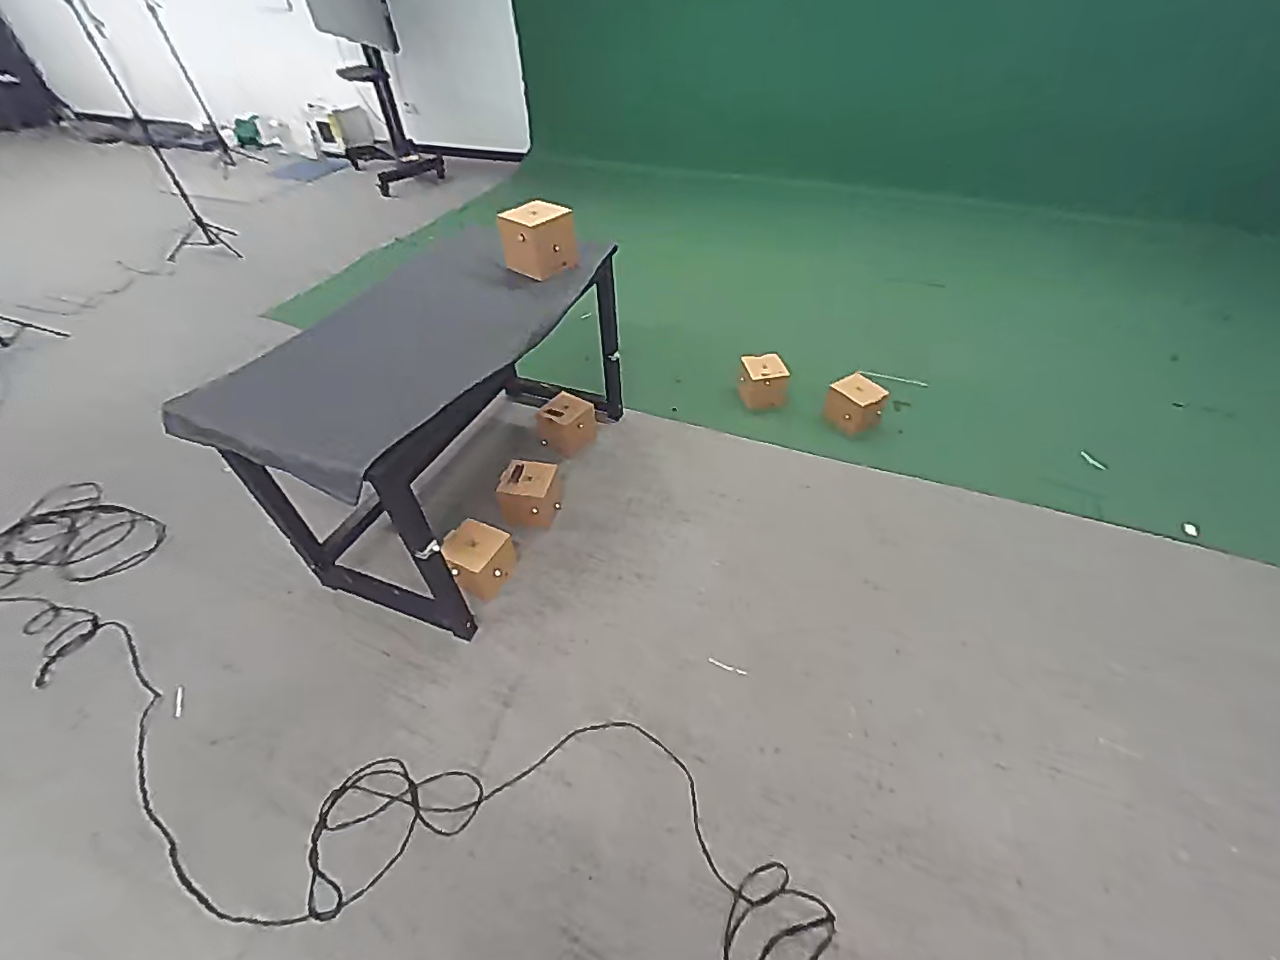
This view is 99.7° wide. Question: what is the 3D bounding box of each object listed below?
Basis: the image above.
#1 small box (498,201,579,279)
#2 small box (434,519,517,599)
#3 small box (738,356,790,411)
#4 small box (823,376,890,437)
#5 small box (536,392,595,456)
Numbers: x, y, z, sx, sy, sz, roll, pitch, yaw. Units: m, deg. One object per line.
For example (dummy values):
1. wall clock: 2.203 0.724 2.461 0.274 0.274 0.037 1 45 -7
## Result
1. small box: -0.312 -0.749 1.695 0.179 0.176 0.168 31 54 31
2. small box: -0.520 0.259 1.739 0.179 0.176 0.168 19 49 19
3. small box: 0.540 -0.424 2.379 0.168 0.176 0.179 -8 45 -6
4. small box: 0.892 -0.298 2.244 0.168 0.176 0.179 -25 49 -23
5. small box: -0.297 -0.225 2.204 0.168 0.176 0.179 26 50 24
